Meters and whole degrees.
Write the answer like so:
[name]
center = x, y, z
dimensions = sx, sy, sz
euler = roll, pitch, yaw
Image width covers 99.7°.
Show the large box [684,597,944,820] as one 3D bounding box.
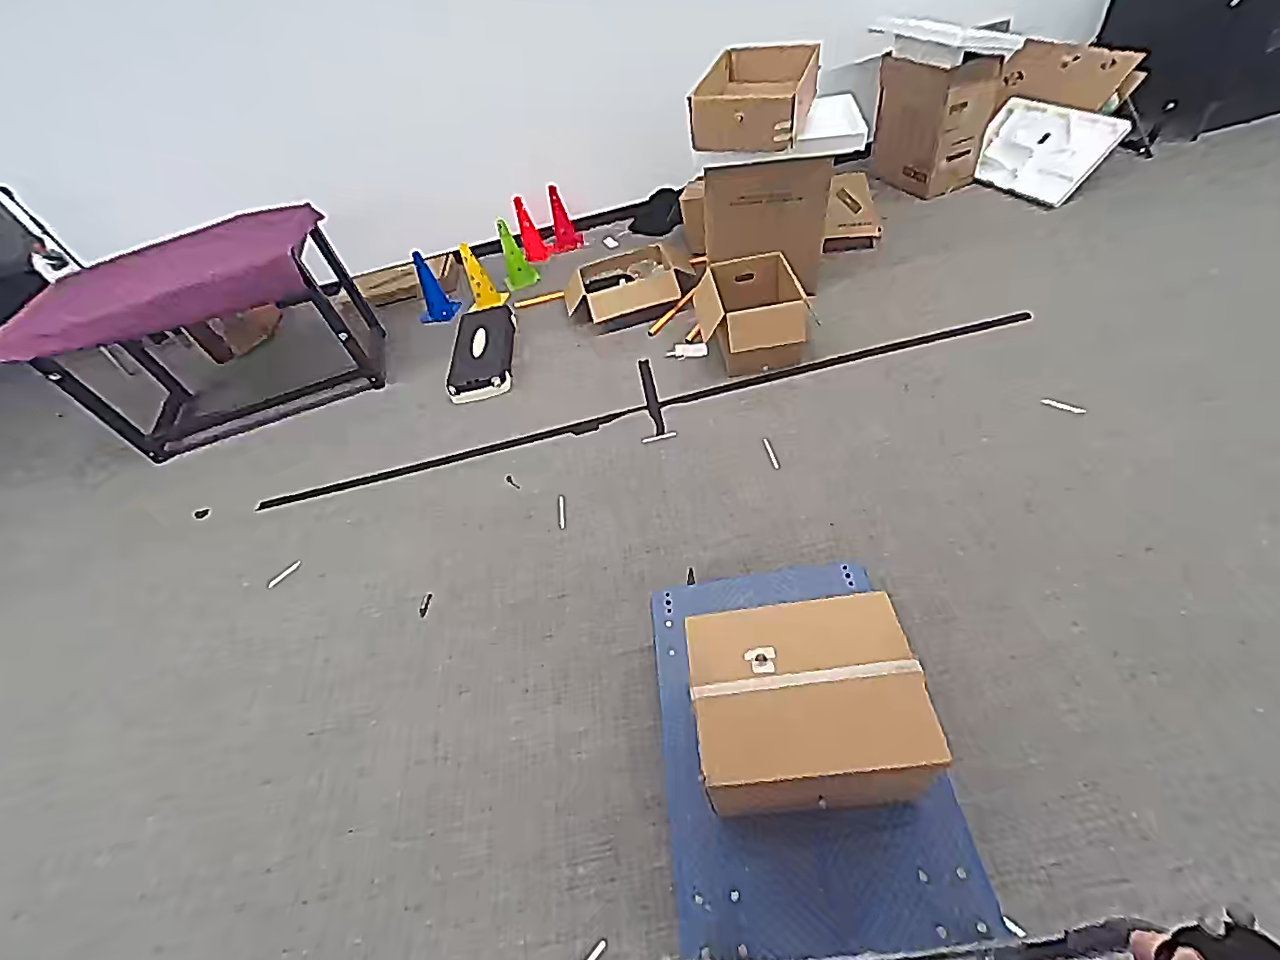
[large box]
center = 0.325, 0.476, 1.108
dimensions = 0.408, 0.320, 0.320
euler = -10, 47, 6
